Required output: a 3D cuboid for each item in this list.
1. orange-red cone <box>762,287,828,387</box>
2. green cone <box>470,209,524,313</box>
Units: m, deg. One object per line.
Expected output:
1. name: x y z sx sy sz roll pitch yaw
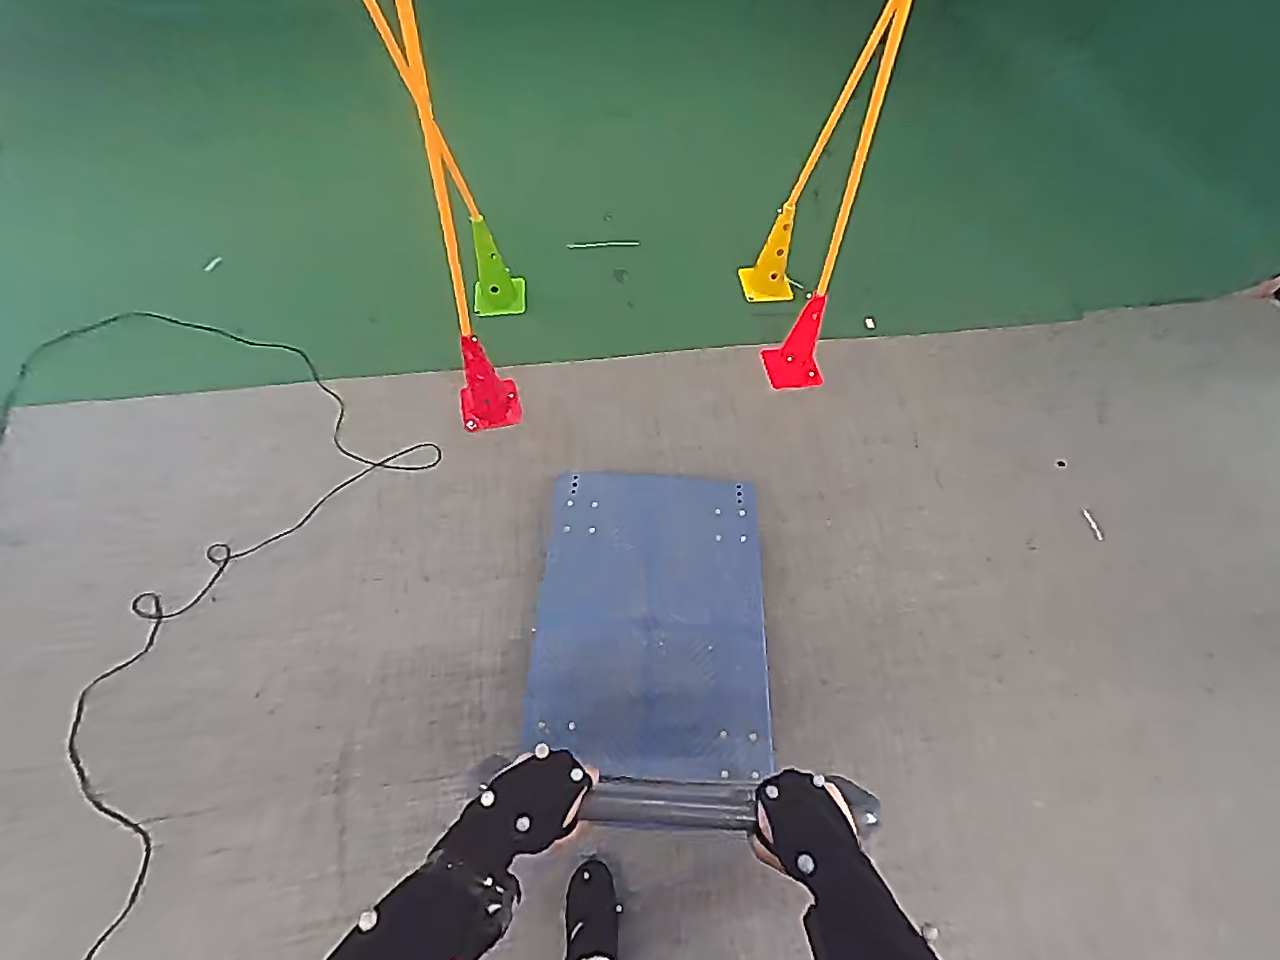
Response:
1. orange-red cone: 0.575 -0.516 1.881 0.198 0.360 0.199 -5 59 -6
2. green cone: -0.565 -0.830 2.017 0.200 0.368 0.202 -6 60 -5
